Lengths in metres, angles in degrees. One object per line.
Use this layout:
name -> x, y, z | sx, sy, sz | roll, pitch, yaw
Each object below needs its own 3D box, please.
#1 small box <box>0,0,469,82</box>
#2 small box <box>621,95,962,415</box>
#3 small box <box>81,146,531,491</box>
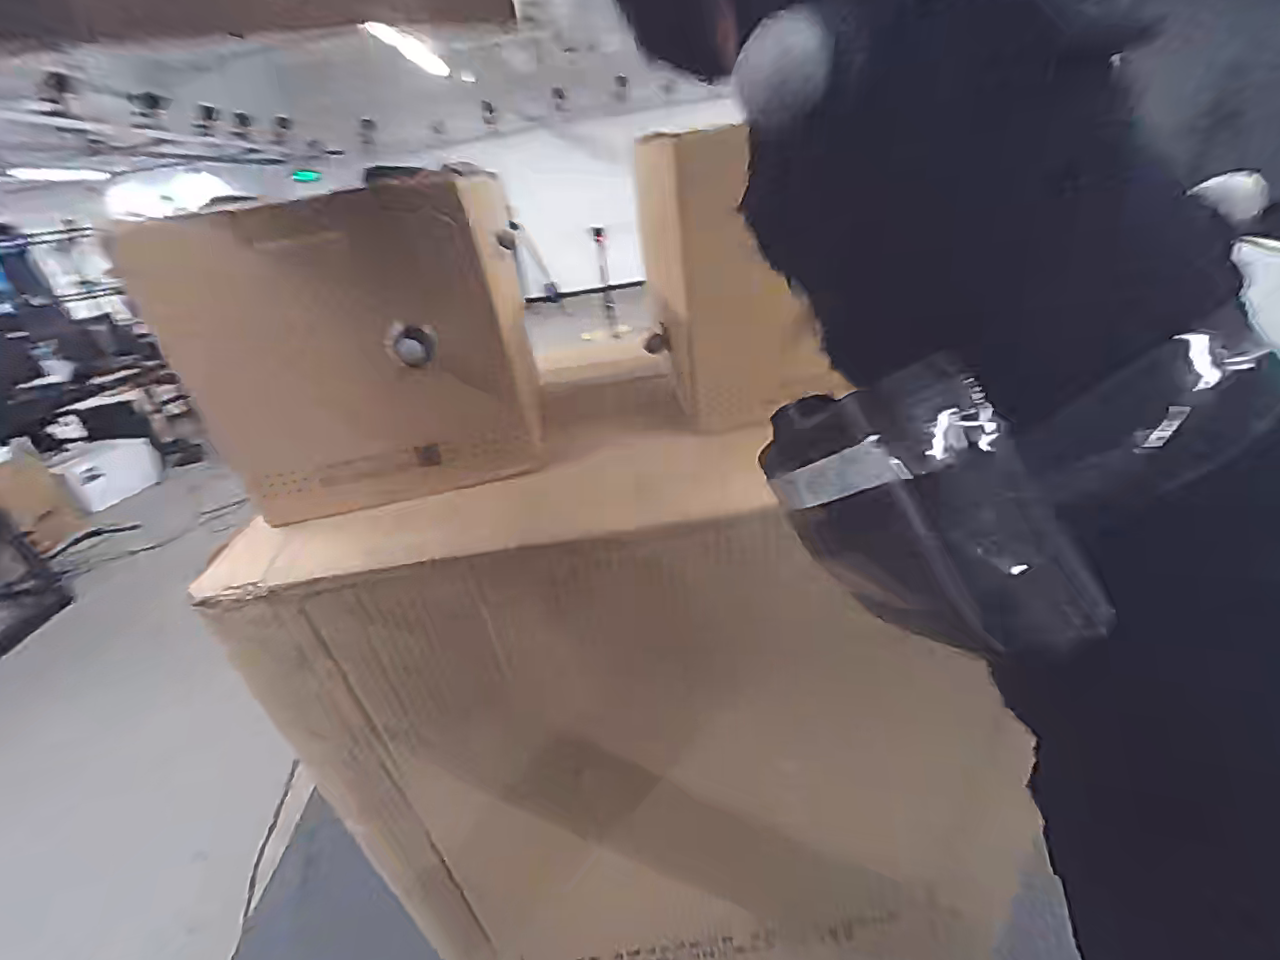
small box -> -0.138, -0.236, 0.137 | 0.179, 0.176, 0.168 | -7, 60, -3
small box -> 0.086, -0.155, 0.386 | 0.168, 0.176, 0.179 | -10, 32, -4
small box -> -0.175, -0.107, 0.358 | 0.168, 0.176, 0.179 | -15, 32, -7
